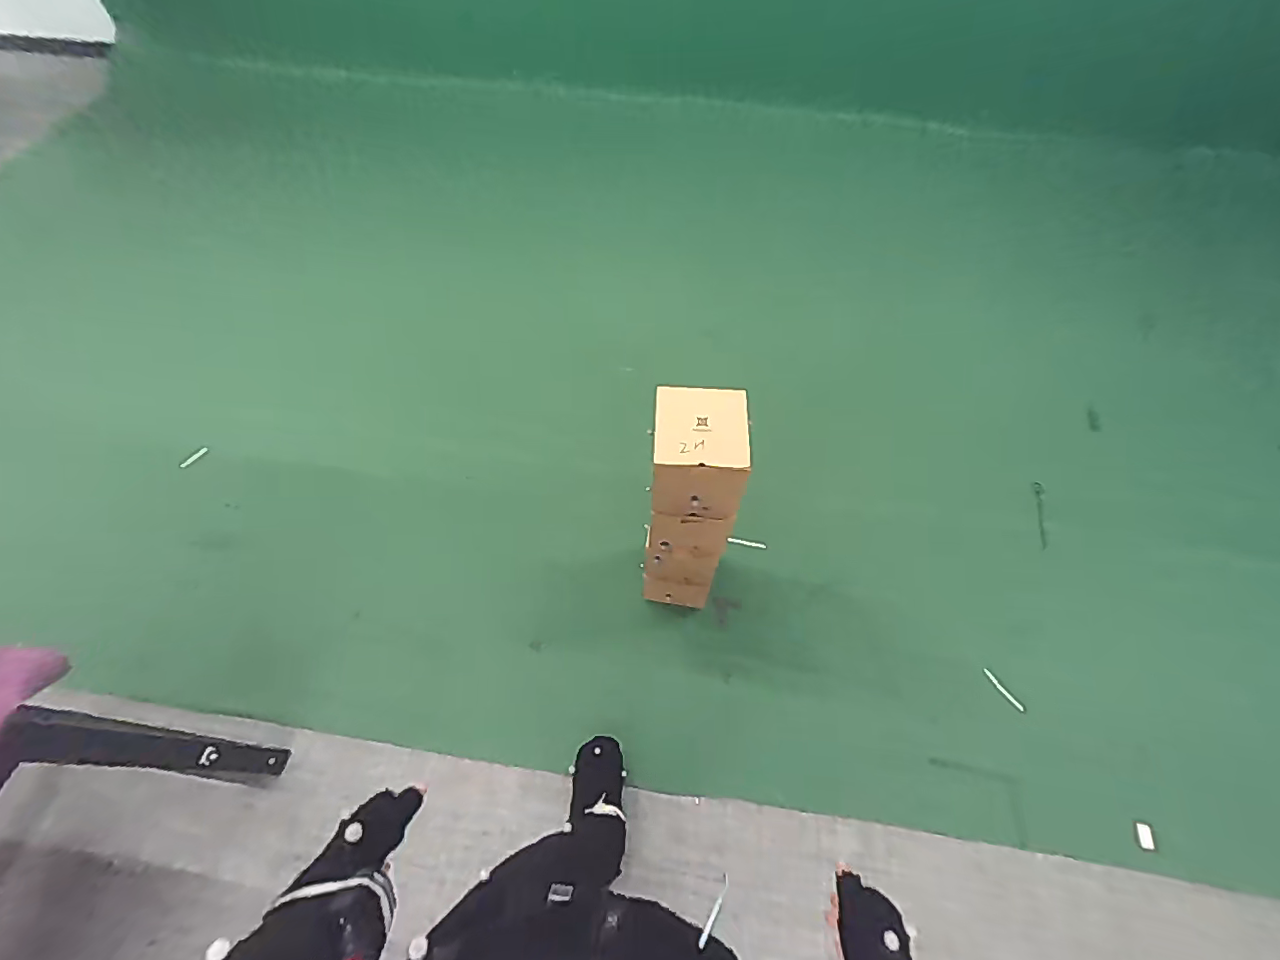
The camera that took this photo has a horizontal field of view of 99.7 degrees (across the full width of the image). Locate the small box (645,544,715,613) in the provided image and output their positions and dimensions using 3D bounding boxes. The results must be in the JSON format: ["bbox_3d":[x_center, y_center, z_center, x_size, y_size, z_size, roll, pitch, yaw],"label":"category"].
[{"bbox_3d":[0.106,0.234,1.438,0.168,0.176,0.179,8,60,5],"label":"small box"}]

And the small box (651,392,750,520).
[{"bbox_3d":[0.109,-0.043,1.029,0.168,0.176,0.179,3,59,1],"label":"small box"}]

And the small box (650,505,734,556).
[{"bbox_3d":[0.109,0.051,1.164,0.168,0.176,0.179,4,58,1],"label":"small box"}]
